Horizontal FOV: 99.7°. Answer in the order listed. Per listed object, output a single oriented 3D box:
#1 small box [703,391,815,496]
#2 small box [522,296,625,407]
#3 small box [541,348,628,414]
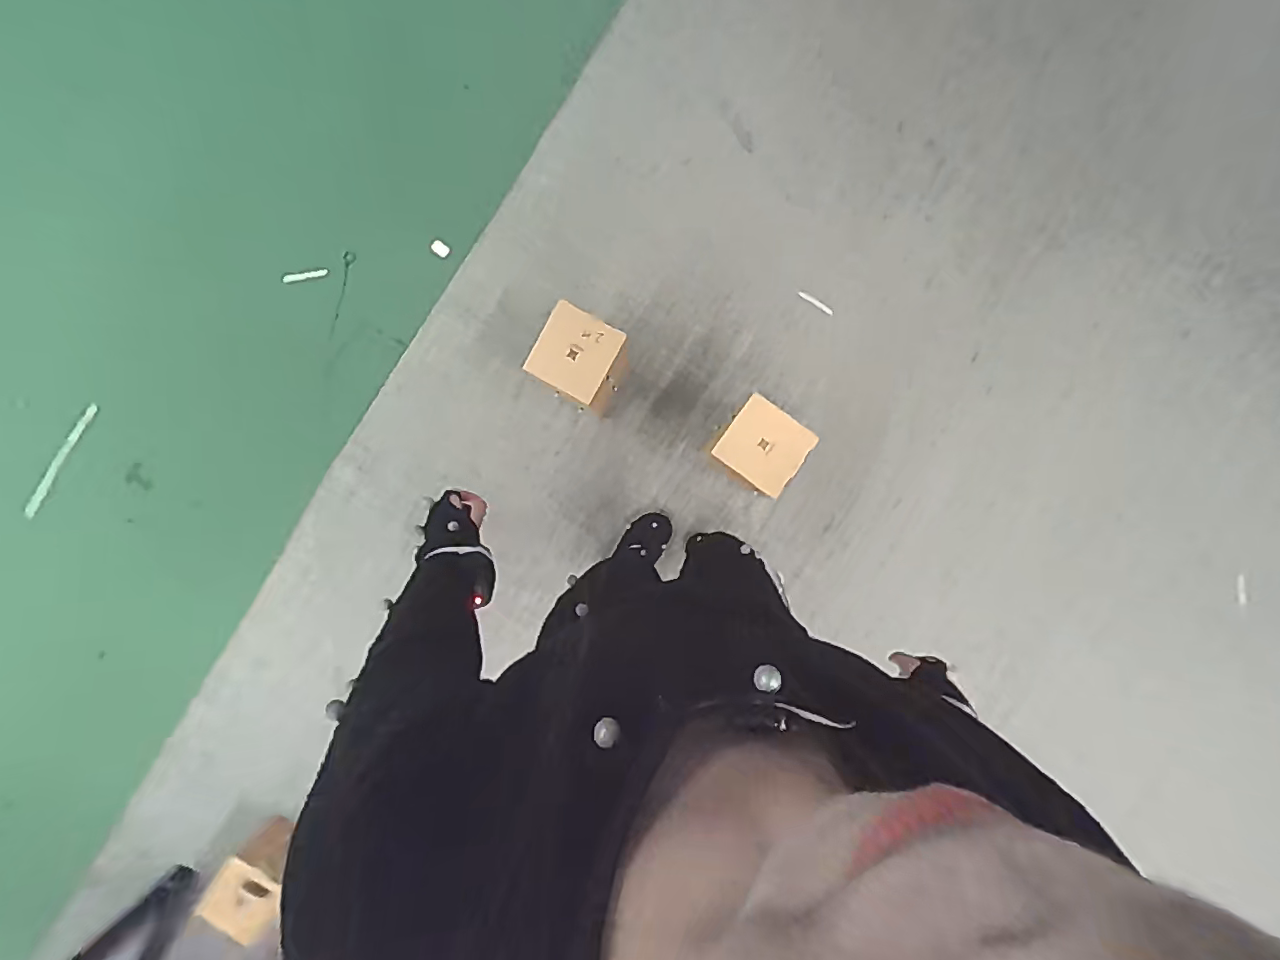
[{"bbox_3d":[0.262,-0.077,1.242,0.179,0.176,0.168,37,90,0],"label":"small box"},{"bbox_3d":[-0.142,-0.283,1.242,0.168,0.176,0.179,30,91,-1],"label":"small box"},{"bbox_3d":[-0.138,-0.287,1.406,0.168,0.176,0.179,31,90,-1],"label":"small box"}]
